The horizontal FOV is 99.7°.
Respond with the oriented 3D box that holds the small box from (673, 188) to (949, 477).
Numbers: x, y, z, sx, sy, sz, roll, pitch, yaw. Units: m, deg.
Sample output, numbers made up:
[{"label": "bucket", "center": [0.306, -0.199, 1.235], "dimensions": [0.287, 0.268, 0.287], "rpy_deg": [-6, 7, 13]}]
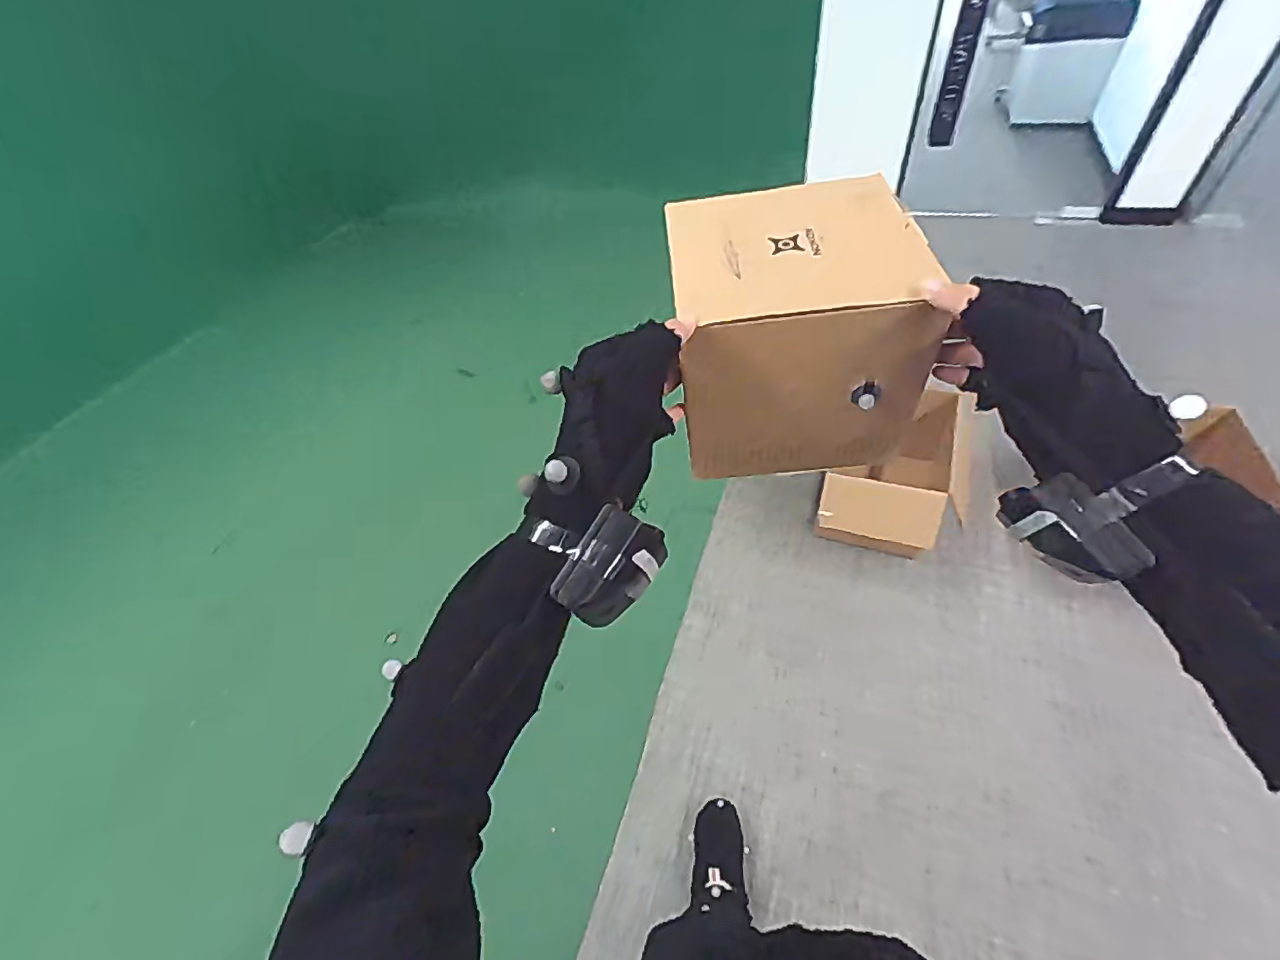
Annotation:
[{"label": "small box", "center": [0.123, -0.119, 0.465], "dimensions": [0.179, 0.176, 0.168], "rpy_deg": [-5, 51, 5]}]
